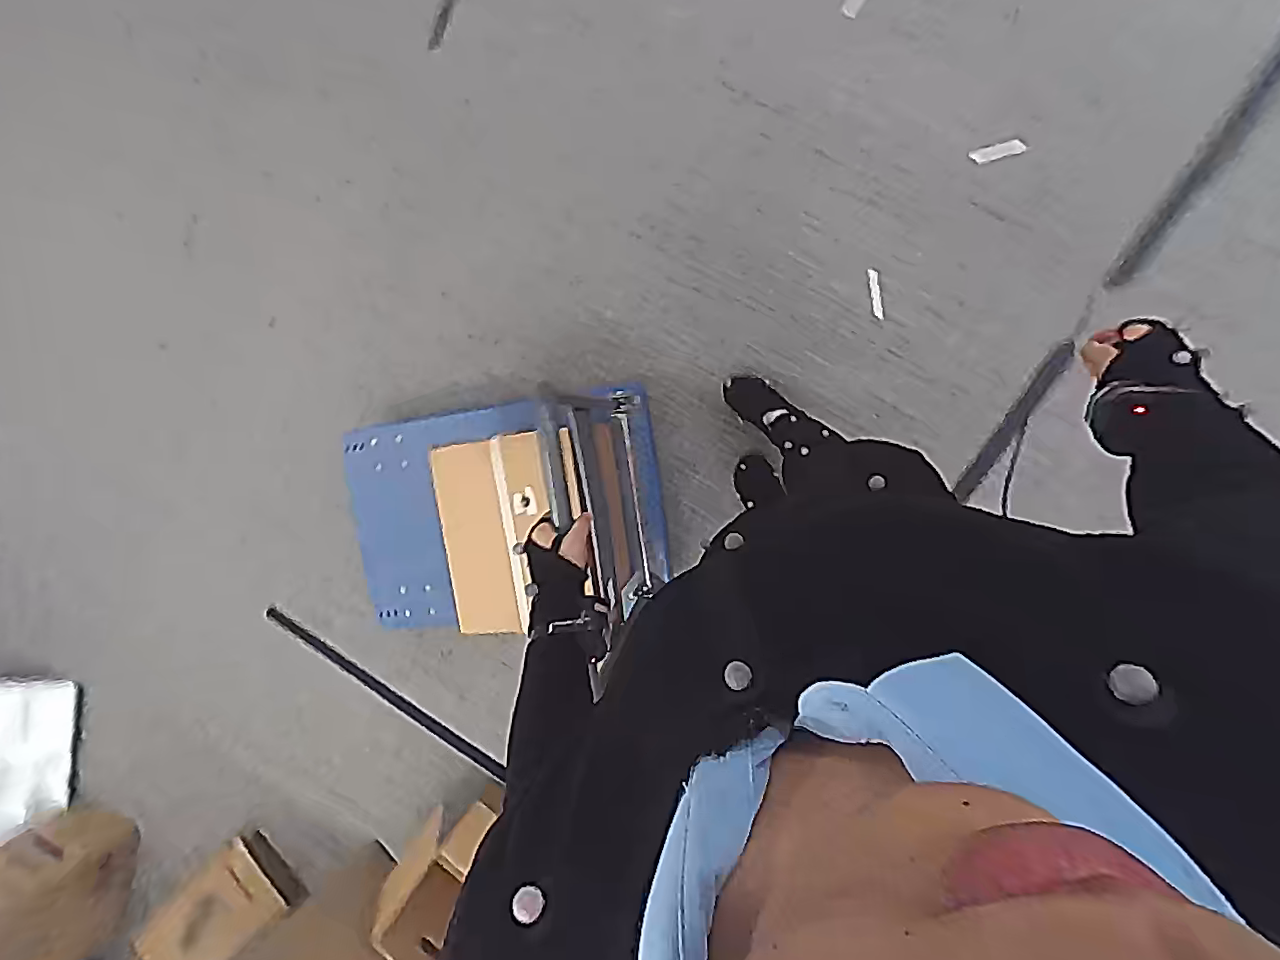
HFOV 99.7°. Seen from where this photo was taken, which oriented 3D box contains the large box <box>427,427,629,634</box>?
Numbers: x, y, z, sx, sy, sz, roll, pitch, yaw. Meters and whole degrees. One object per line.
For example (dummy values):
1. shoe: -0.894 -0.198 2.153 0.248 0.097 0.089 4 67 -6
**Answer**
1. large box: -0.235 0.100 1.253 0.320 0.320 0.408 -8 95 12
